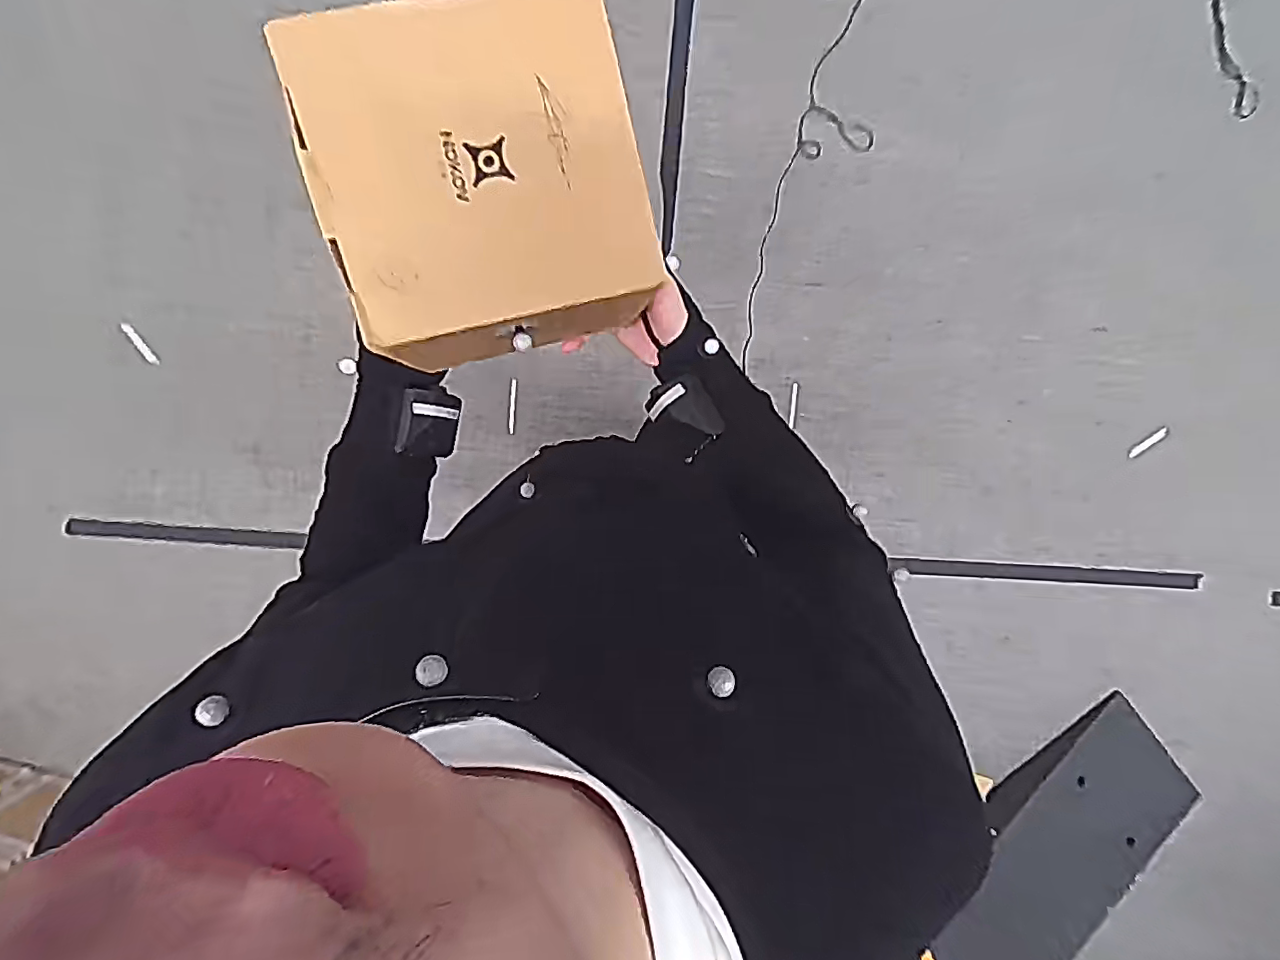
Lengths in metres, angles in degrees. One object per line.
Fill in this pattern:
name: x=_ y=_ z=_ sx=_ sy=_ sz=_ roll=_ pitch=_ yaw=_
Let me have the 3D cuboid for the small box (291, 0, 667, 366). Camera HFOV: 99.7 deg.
small box: x=-0.096 y=-0.183 z=0.383 sx=0.179 sy=0.176 sz=0.168 roll=-15 pitch=100 yaw=-9
